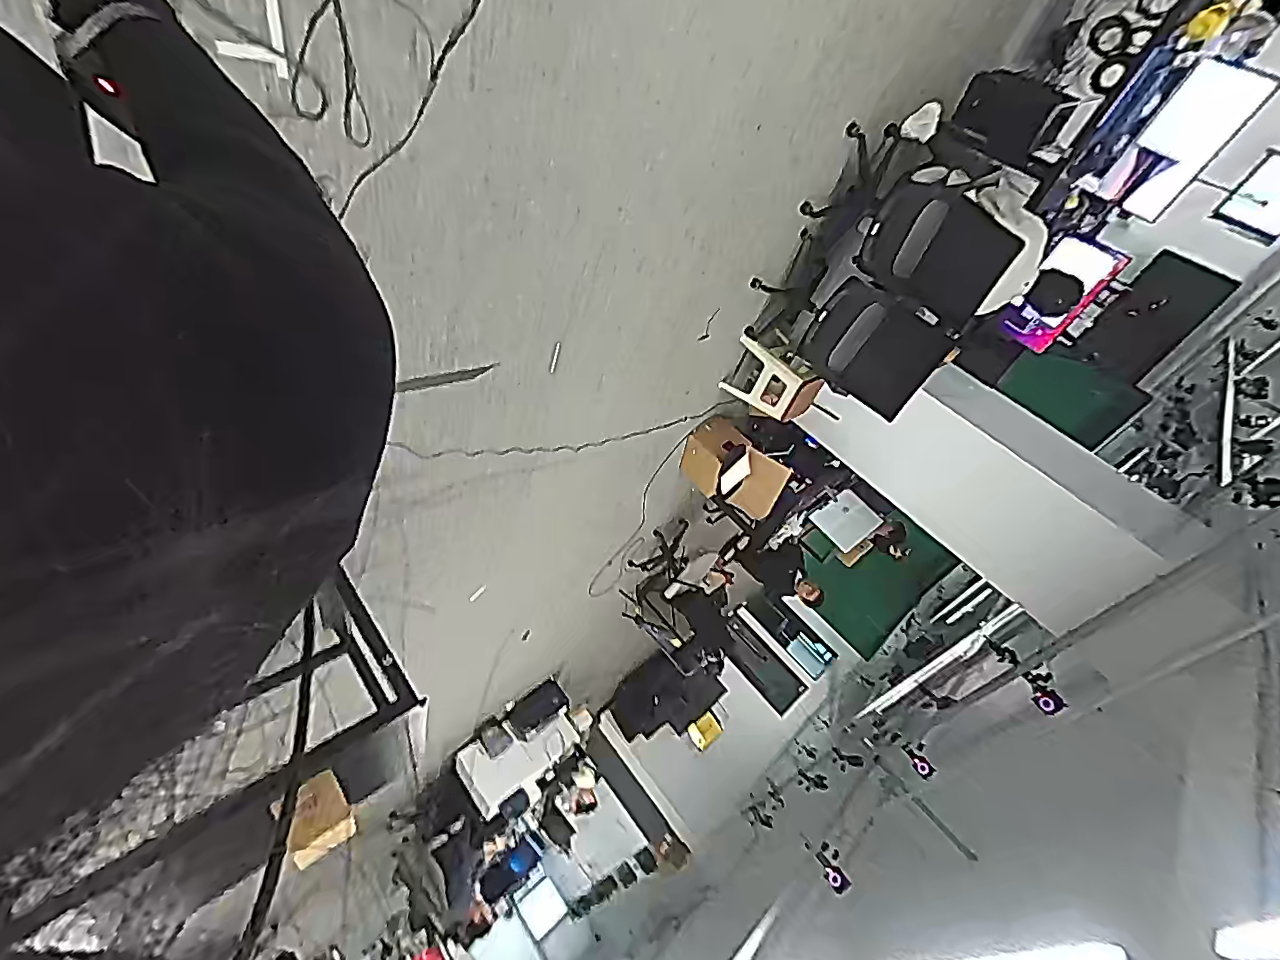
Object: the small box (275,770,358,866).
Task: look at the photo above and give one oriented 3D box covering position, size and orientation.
[{"bbox_3d":[-0.989,1.025,1.653,0.168,0.176,0.179,-24,150,-39],"label":"small box"}]
